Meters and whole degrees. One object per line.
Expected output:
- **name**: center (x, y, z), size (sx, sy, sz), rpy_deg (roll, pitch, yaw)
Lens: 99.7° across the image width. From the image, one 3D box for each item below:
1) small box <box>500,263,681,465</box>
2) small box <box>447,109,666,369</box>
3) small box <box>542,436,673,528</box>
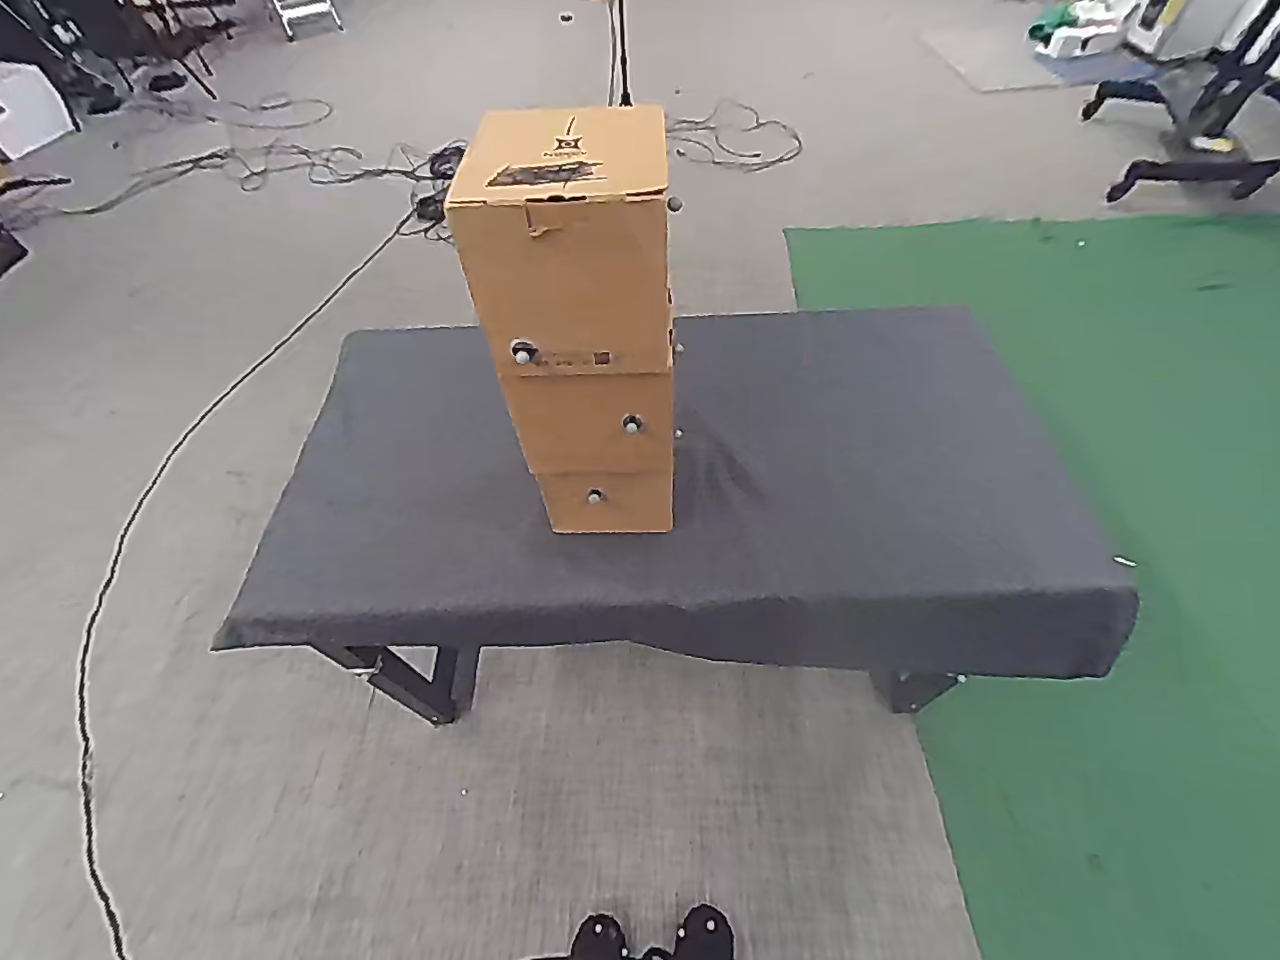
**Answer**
- **small box**: center (-0.050, -0.131, 0.629), size (0.179, 0.176, 0.168), rpy_deg (-3, 54, -1)
- **small box**: center (-0.059, -0.219, 0.510), size (0.168, 0.176, 0.179), rpy_deg (-1, 52, 2)
- **small box**: center (-0.044, -0.041, 0.787), size (0.179, 0.176, 0.168), rpy_deg (-3, 53, 0)
